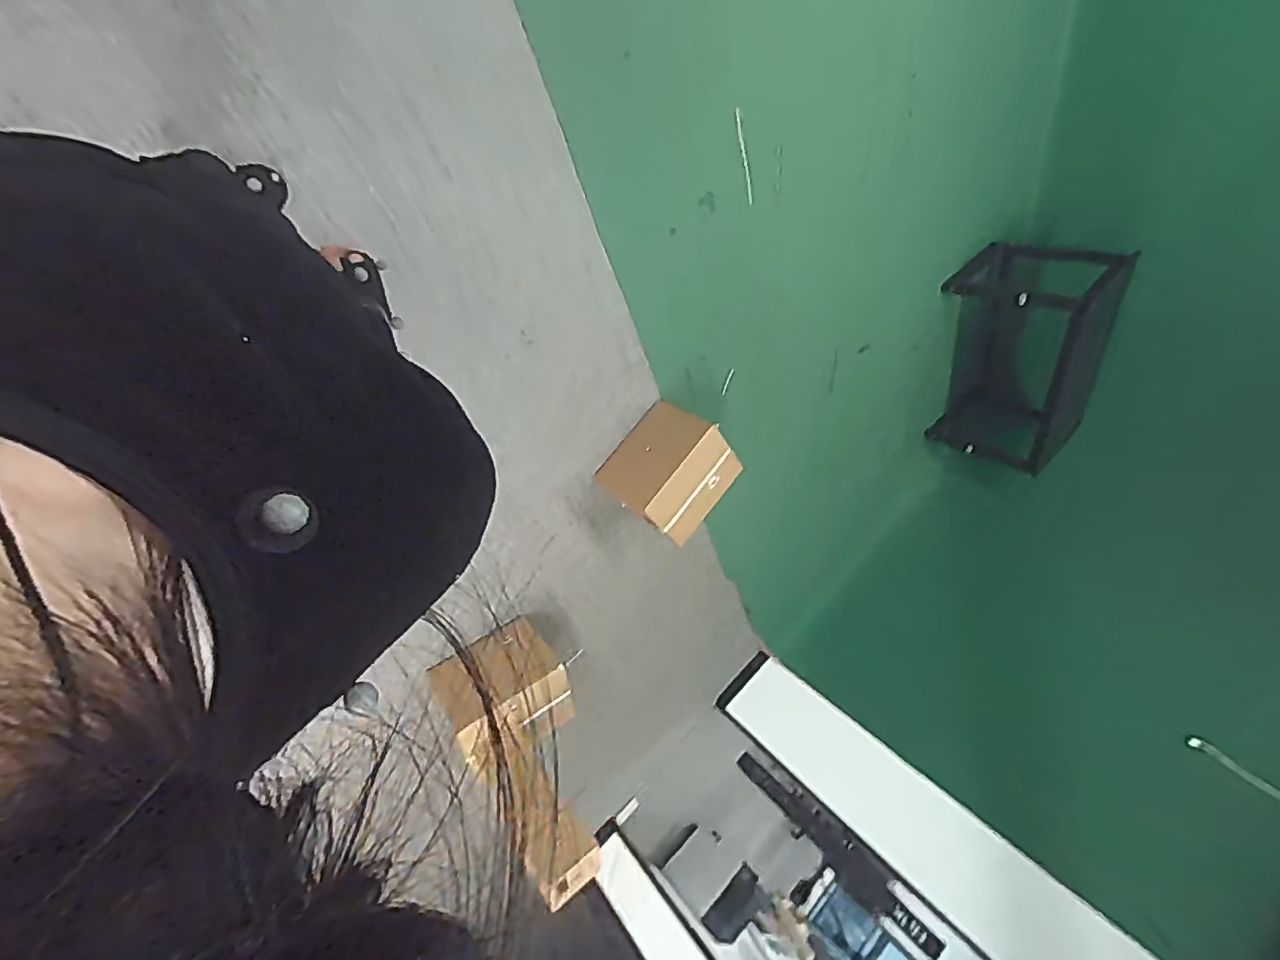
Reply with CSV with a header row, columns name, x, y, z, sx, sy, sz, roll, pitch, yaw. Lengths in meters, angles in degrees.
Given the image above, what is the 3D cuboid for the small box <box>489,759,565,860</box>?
name,x,y,z,sx,sy,sz,roll,pitch,yaw
small box,-0.361,1.032,1.705,0.179,0.176,0.168,-25,130,-31

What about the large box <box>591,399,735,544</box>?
name,x,y,z,sx,sy,sz,roll,pitch,yaw
large box,0.089,-0.036,2.089,0.408,0.320,0.320,-52,138,-8

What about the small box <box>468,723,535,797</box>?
name,x,y,z,sx,sy,sz,roll,pitch,yaw
small box,-0.456,0.960,1.816,0.168,0.176,0.179,-26,131,-30
